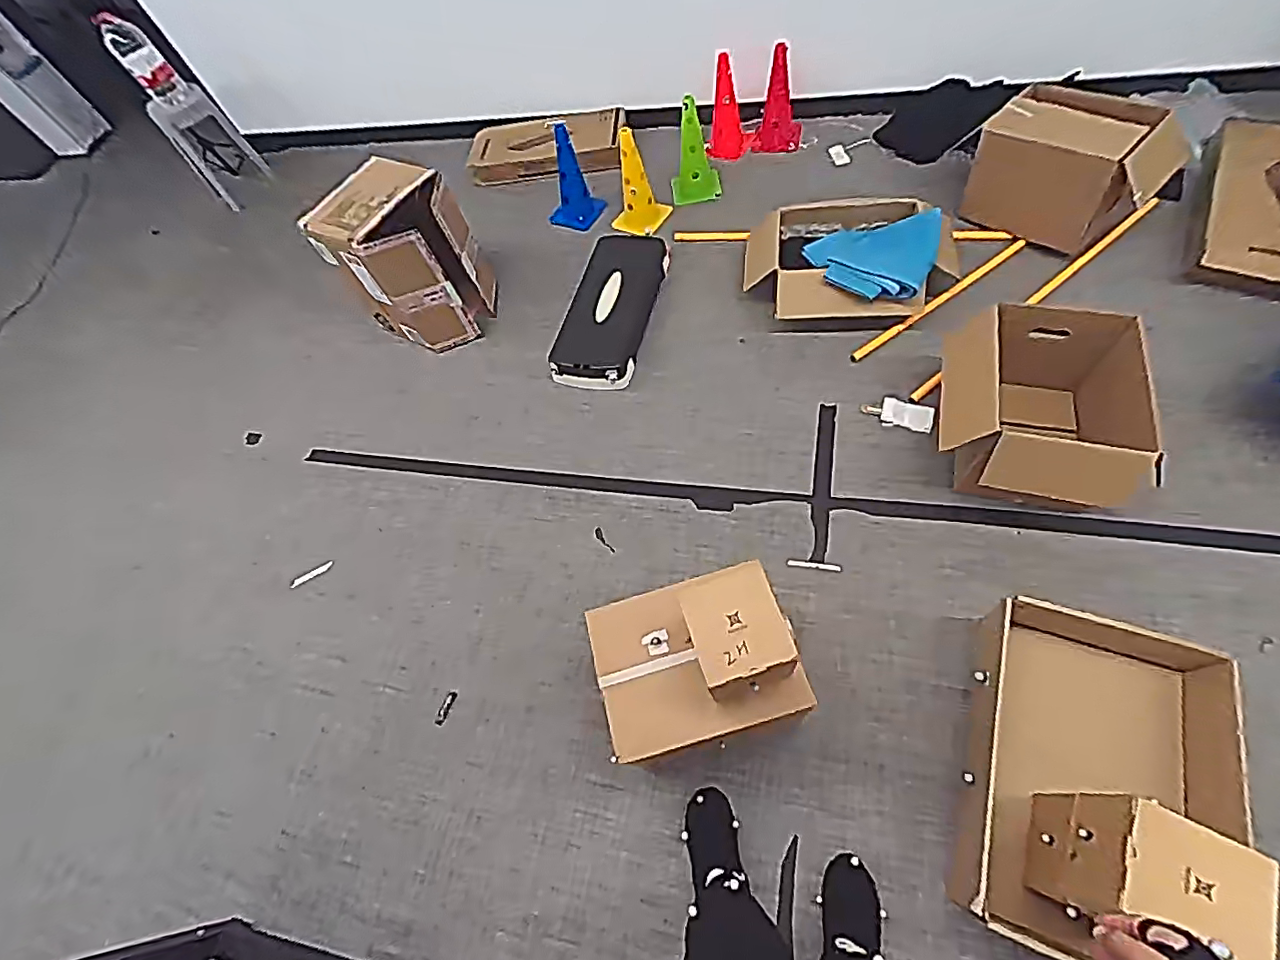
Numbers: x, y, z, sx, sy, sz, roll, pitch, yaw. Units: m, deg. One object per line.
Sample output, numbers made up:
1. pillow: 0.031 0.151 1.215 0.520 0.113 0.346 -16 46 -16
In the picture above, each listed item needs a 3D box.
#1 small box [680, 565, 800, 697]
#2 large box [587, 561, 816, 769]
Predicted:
1. small box: 0.183 0.287 1.015 0.168 0.176 0.179 -19 60 1
2. large box: 0.137 0.431 1.230 0.408 0.320 0.320 -19 59 1
